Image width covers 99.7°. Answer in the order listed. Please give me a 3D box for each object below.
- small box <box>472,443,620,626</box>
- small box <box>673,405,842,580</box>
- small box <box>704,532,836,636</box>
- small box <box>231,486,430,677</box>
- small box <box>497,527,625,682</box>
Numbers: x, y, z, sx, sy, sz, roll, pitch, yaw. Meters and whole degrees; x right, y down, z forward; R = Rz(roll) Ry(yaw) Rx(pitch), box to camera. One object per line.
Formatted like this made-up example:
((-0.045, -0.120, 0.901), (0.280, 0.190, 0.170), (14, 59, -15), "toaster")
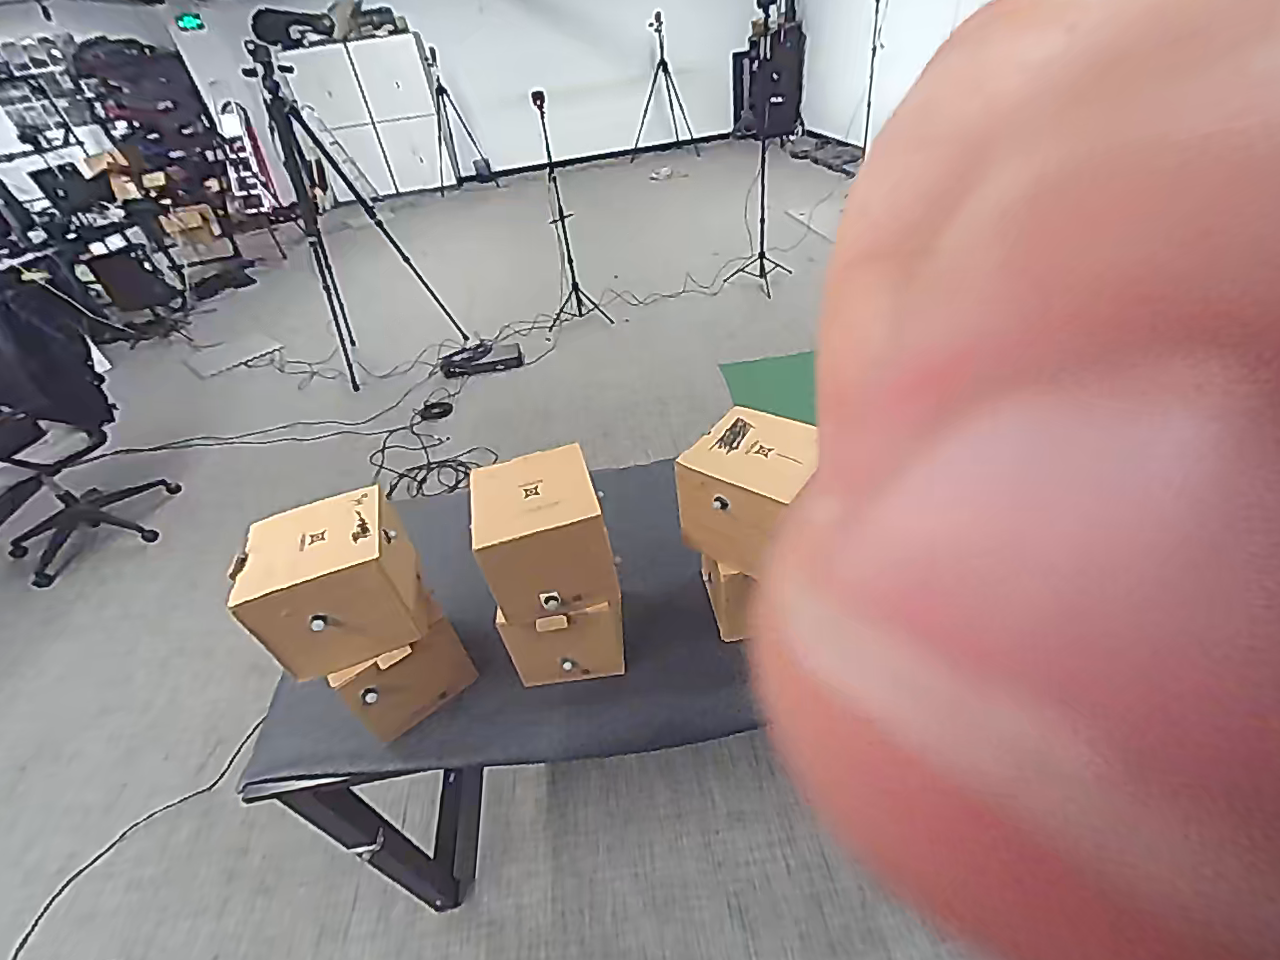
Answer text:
((-0.136, 0.077, 0.784), (0.168, 0.176, 0.179), (-16, 39, -7), "small box")
((0.171, 0.017, 0.791), (0.179, 0.176, 0.168), (22, 49, 34), "small box")
((0.205, 0.134, 0.902), (0.179, 0.176, 0.168), (-12, 39, -1), "small box")
((-0.417, 0.143, 0.760), (0.179, 0.176, 0.168), (-20, 40, -11), "small box")
((-0.119, 0.202, 0.886), (0.168, 0.176, 0.179), (-9, 39, 2), "small box")
